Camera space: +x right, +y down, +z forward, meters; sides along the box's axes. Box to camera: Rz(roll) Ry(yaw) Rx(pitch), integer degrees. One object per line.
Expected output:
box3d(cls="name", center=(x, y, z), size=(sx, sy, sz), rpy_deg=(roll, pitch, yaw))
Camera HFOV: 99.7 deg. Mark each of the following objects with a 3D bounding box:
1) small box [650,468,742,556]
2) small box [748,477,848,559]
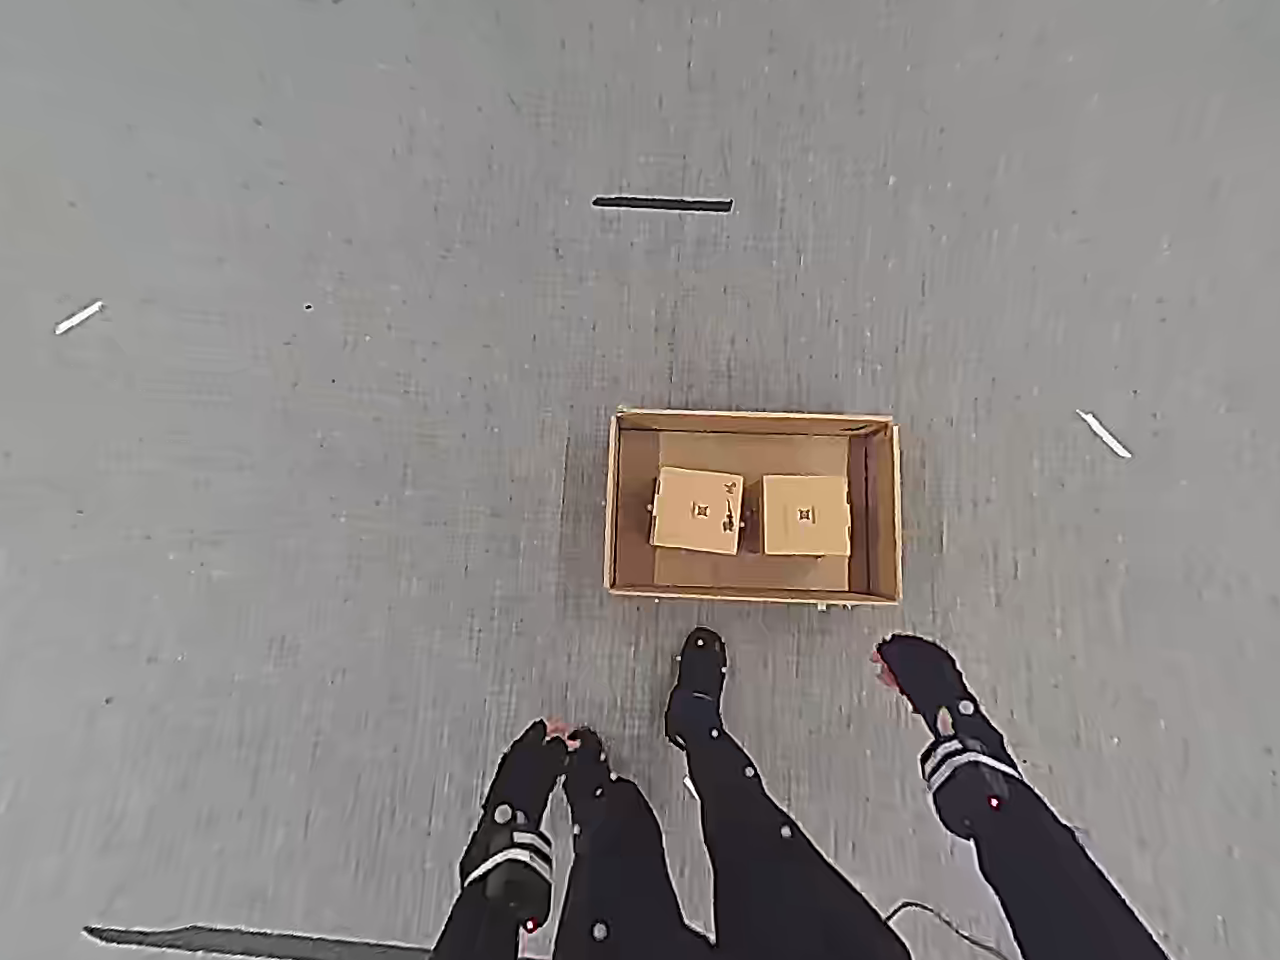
box3d(cls="small box", center=(0.116, 0.076, 1.187), size=(0.179, 0.176, 0.168), rpy_deg=(7, 83, 1))
box3d(cls="small box", center=(0.340, 0.087, 1.187), size=(0.179, 0.176, 0.168), rpy_deg=(1, 82, 2))
